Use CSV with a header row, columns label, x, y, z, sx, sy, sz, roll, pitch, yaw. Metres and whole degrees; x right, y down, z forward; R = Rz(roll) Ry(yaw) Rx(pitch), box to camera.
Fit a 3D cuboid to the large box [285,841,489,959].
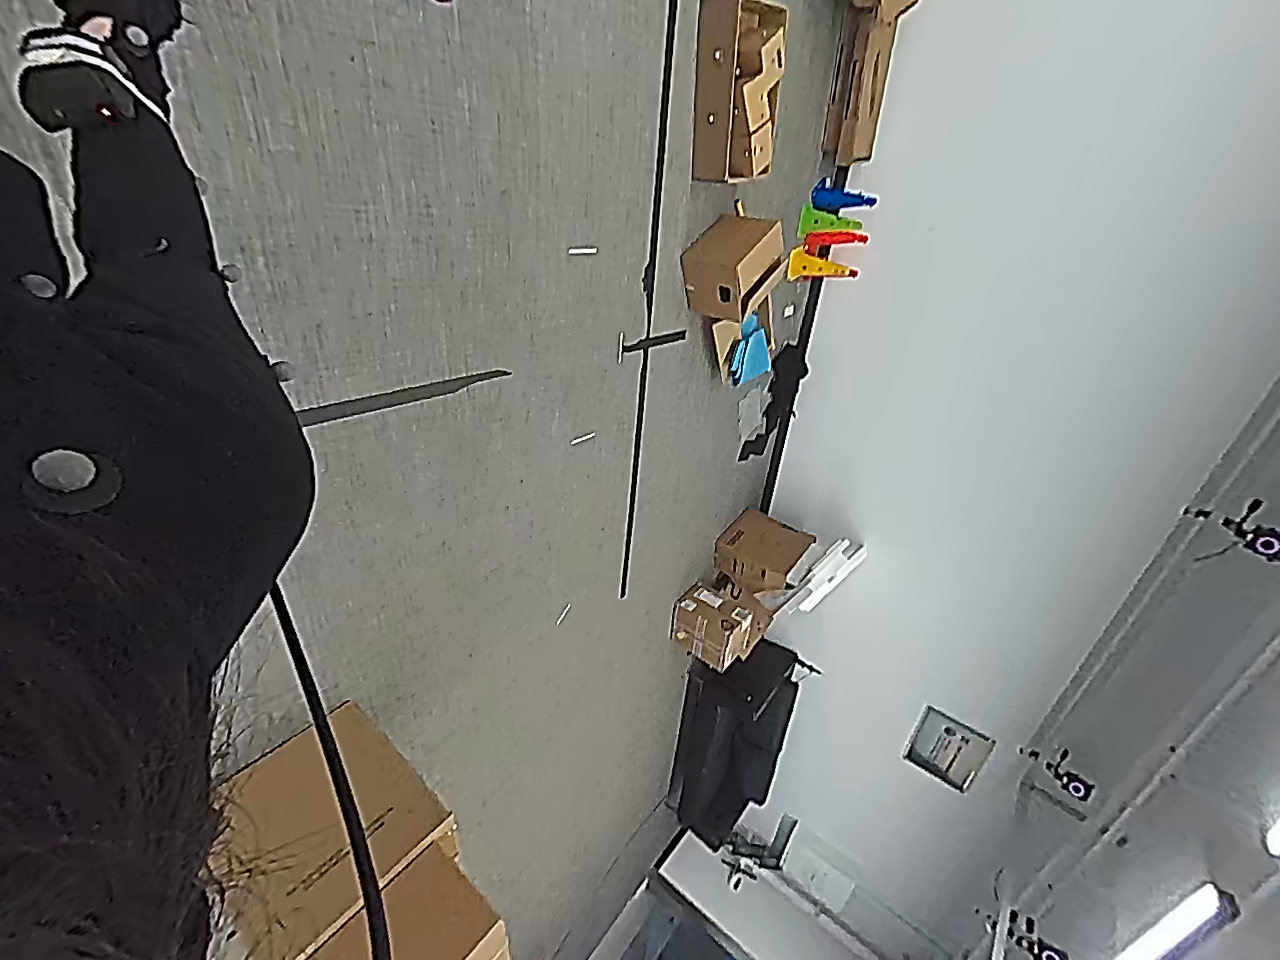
label,x,y,z,sx,sy,sz,roll,pitch,yaw
large box,-0.674,1.312,1.462,0.408,0.320,0.320,-30,134,-44
